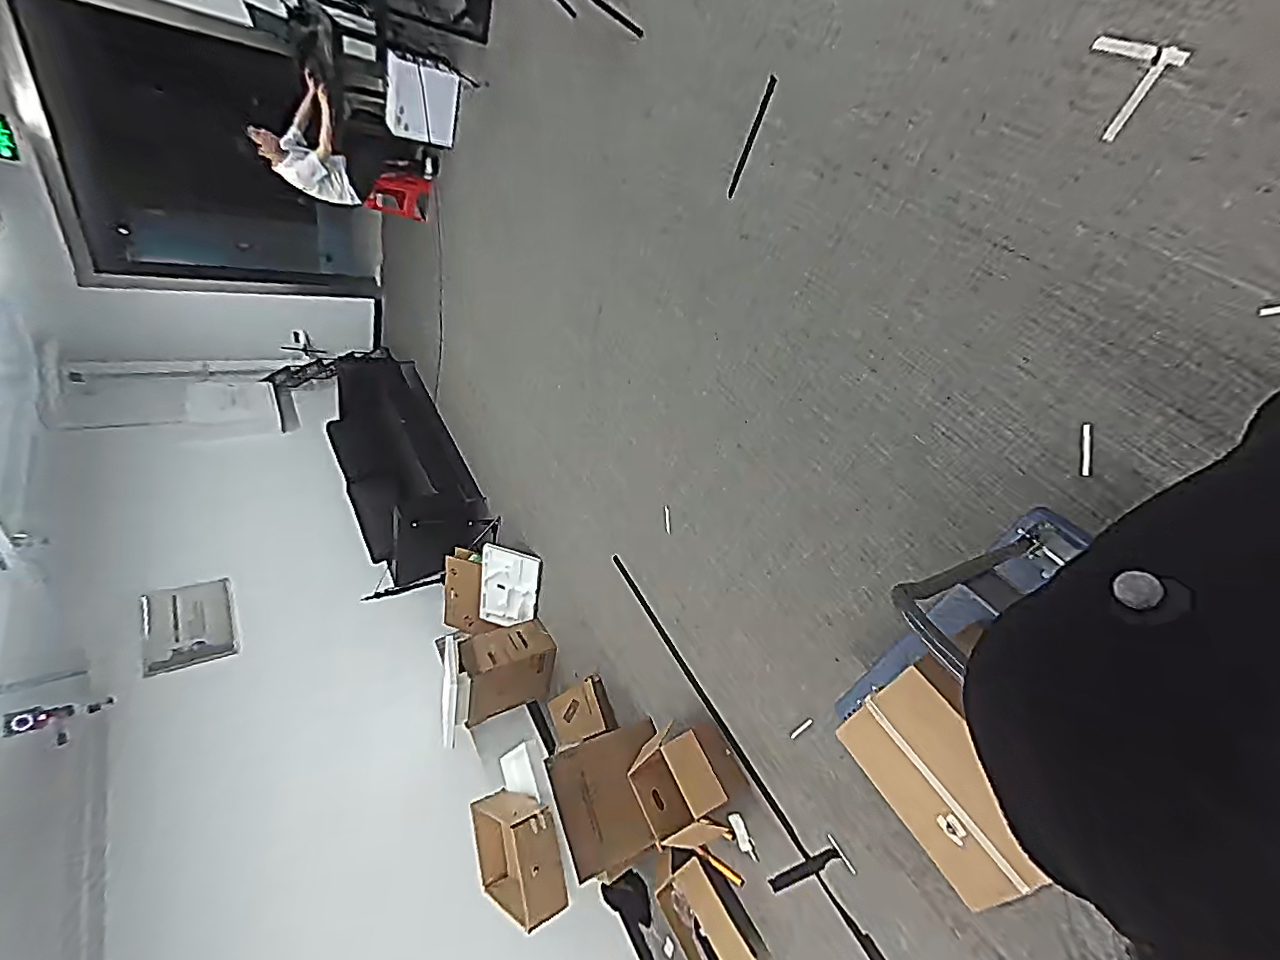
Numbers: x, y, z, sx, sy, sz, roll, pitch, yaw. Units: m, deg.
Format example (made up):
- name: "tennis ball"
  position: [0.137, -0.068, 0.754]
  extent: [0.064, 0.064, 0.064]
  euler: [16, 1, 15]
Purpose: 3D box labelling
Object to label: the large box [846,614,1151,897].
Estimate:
- name: "large box"
  position: [0.759, 0.574, 1.187]
  extent: [0.408, 0.320, 0.320]
  euler: [52, 137, 33]
